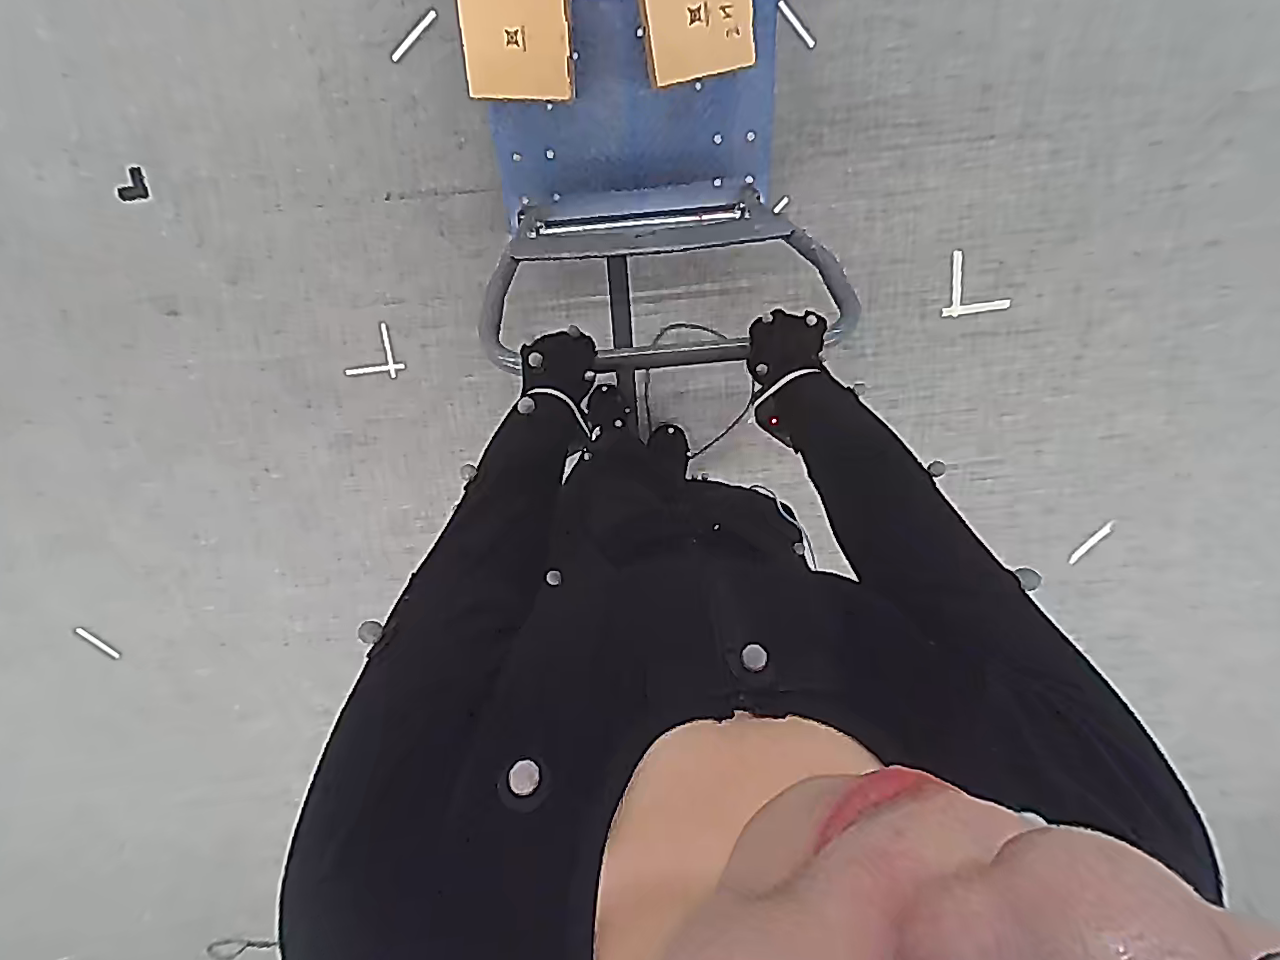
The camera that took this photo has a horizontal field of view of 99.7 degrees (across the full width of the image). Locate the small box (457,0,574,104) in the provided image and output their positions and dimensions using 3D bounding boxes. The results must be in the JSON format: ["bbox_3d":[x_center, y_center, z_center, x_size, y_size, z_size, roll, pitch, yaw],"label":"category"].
[{"bbox_3d":[-0.212,-0.774,0.962,0.179,0.176,0.168,-2,123,-4],"label":"small box"}]

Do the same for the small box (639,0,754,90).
[{"bbox_3d":[0.094,-0.808,0.956,0.179,0.176,0.168,-10,124,4],"label":"small box"}]
